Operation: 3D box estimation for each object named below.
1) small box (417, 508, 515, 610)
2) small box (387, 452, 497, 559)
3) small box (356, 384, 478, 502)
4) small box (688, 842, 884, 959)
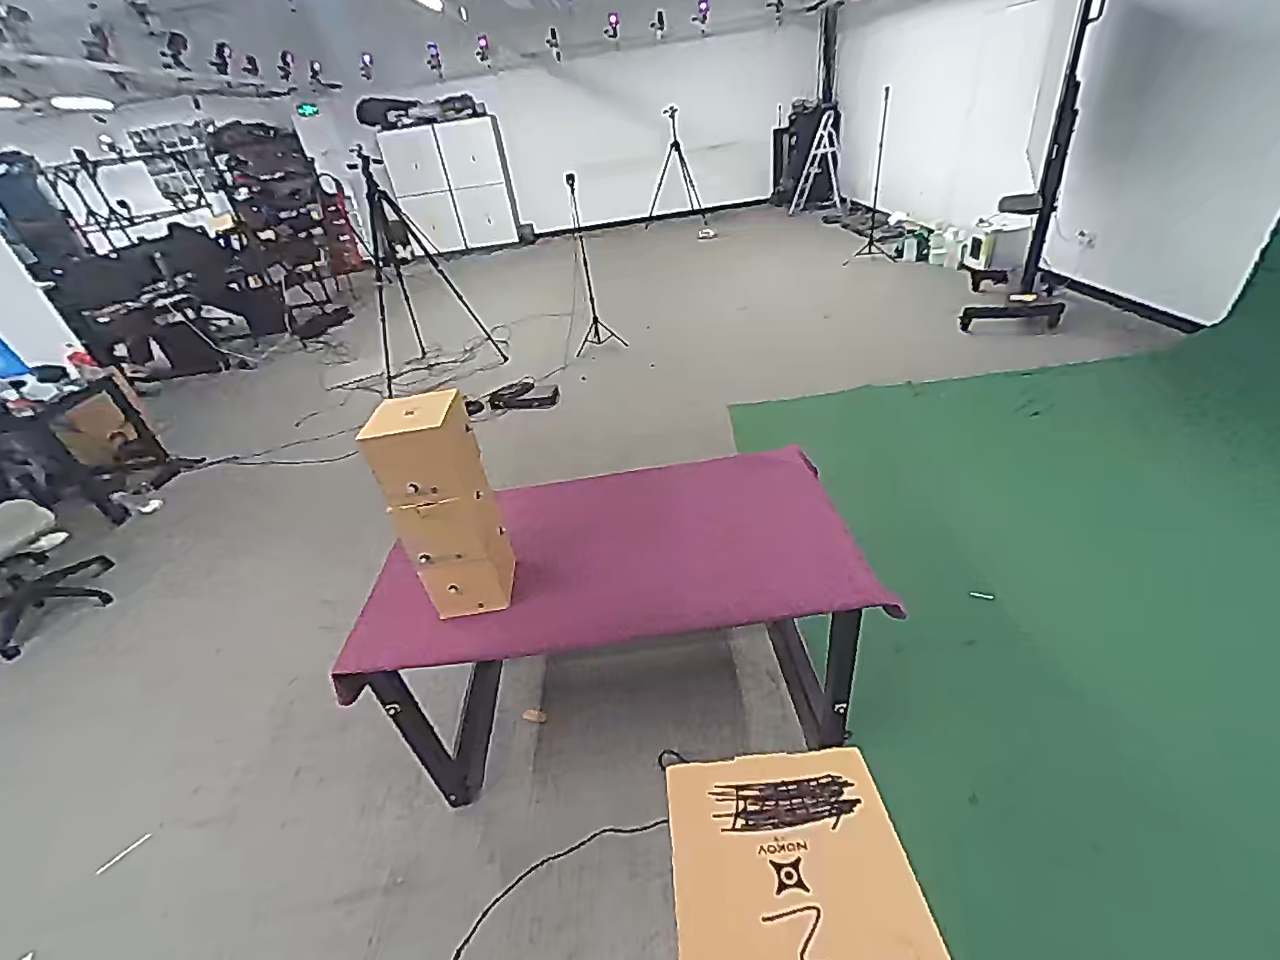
[{"bbox_3d":[-0.407,0.194,1.299,0.168,0.176,0.179,-10,34,0],"label":"small box"},{"bbox_3d":[-0.428,0.060,1.205,0.168,0.176,0.179,-9,33,0],"label":"small box"},{"bbox_3d":[-0.448,-0.078,1.120,0.168,0.176,0.179,-9,34,1],"label":"small box"},{"bbox_3d":[0.137,0.476,0.500,0.168,0.176,0.179,-6,24,6],"label":"small box"}]
